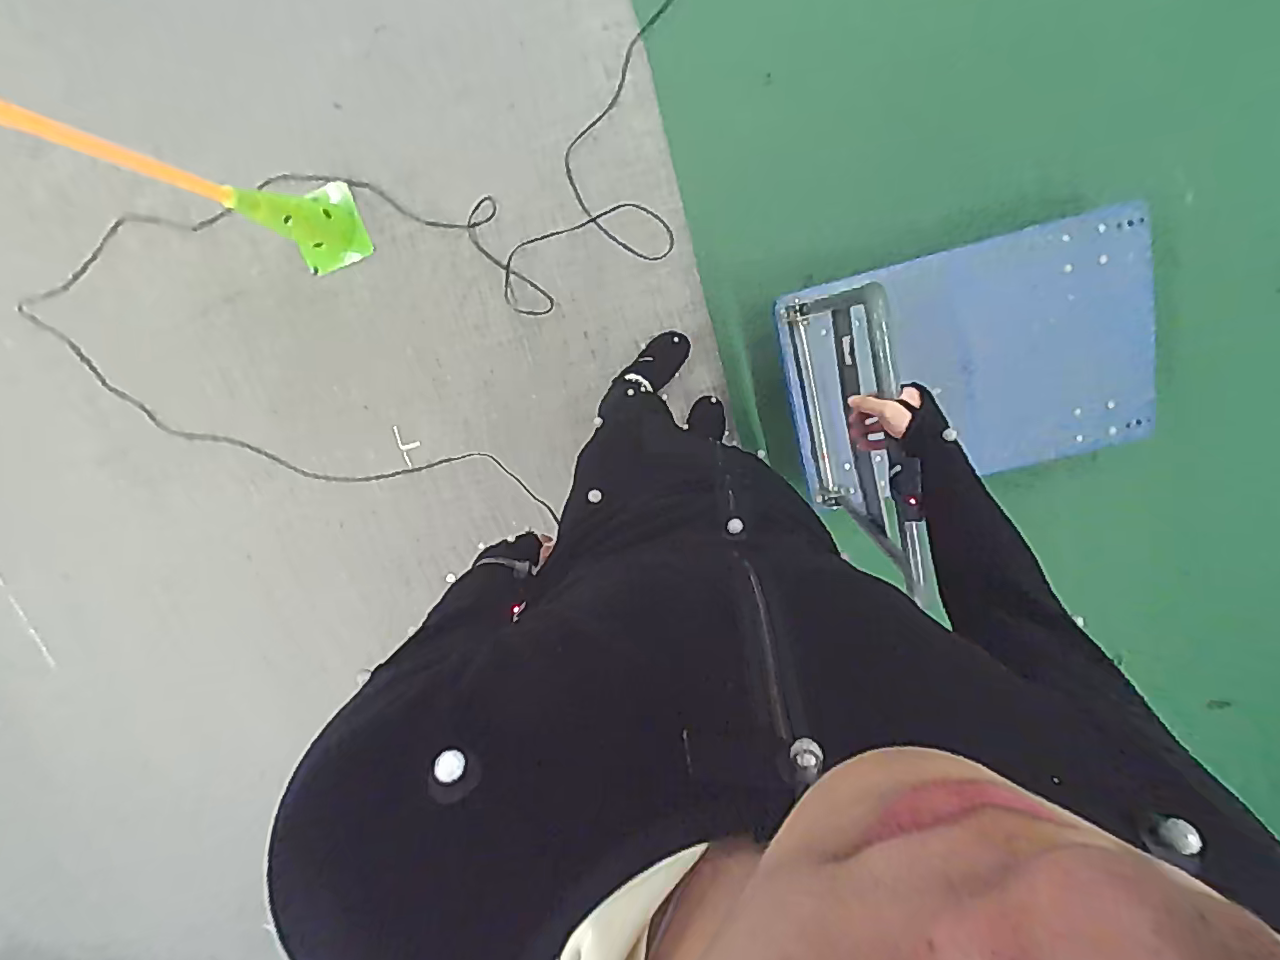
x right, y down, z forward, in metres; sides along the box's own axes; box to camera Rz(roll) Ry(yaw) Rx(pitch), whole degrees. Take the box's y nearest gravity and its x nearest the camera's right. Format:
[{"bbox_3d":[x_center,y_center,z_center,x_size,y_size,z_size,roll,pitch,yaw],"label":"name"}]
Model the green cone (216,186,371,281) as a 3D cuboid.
[{"bbox_3d":[-0.874,-0.642,1.332,0.200,0.368,0.202,-19,100,7],"label":"green cone"}]
